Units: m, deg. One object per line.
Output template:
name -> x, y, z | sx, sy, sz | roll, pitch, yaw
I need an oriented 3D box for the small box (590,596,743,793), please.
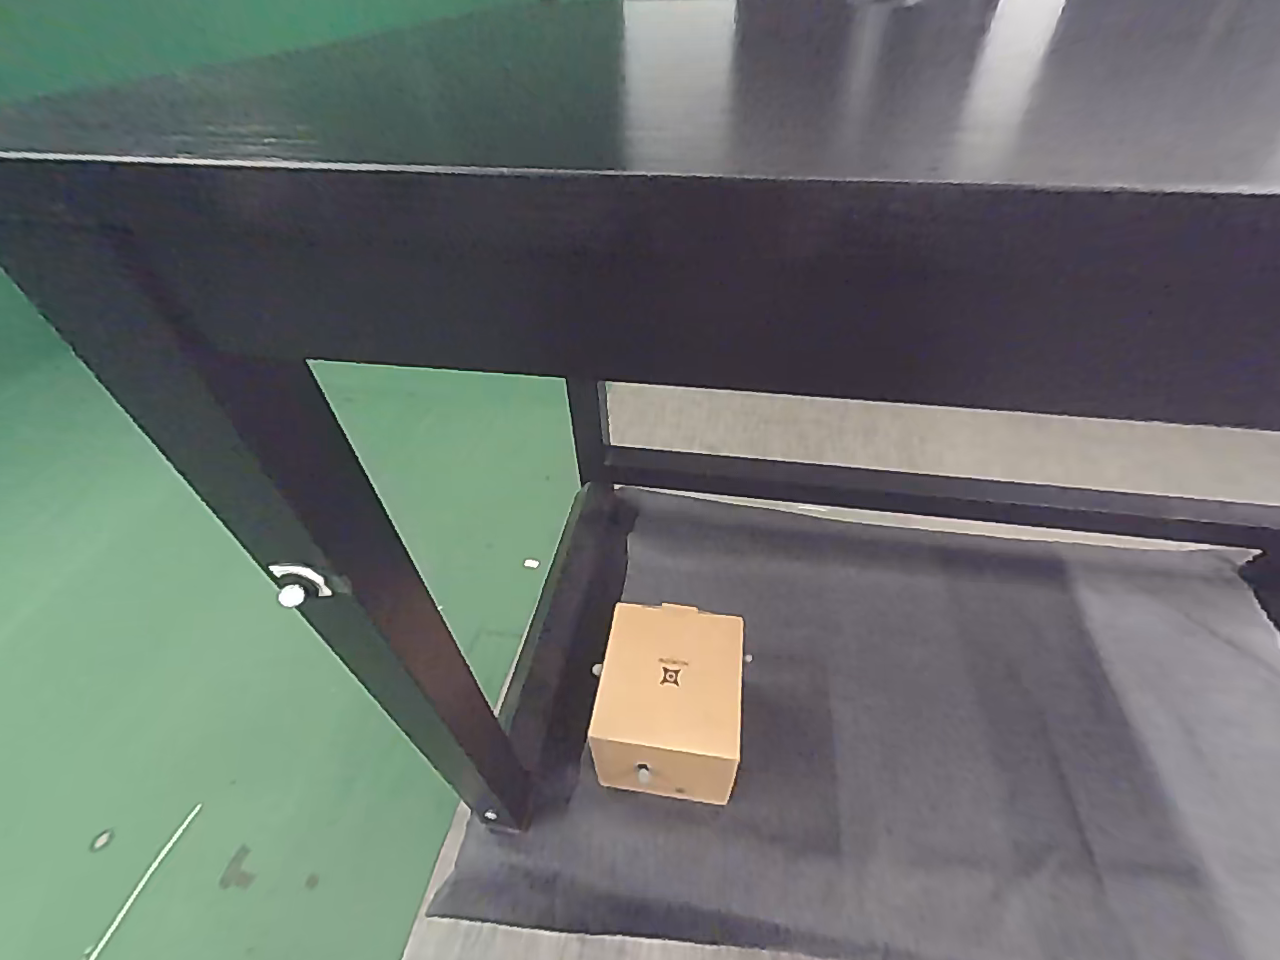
small box -> 0.041, 0.274, 0.690 | 0.168, 0.176, 0.179 | 5, 44, 7
